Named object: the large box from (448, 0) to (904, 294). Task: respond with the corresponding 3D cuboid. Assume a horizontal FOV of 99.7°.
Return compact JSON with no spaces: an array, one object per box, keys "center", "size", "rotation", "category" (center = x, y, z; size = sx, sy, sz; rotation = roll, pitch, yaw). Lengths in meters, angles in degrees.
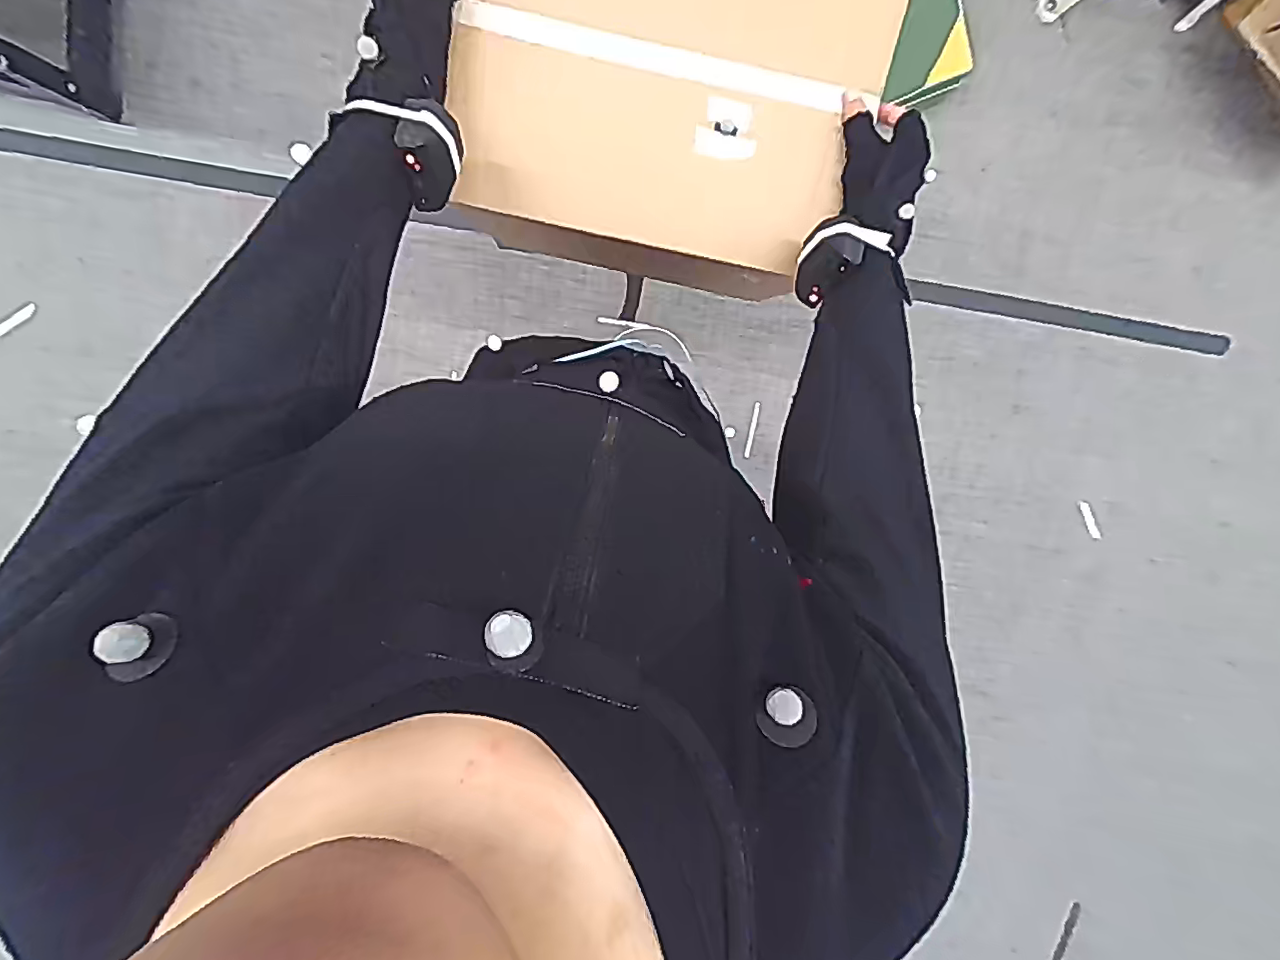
[{"center":[0.027,-0.430,0.652],"size":[0.408,0.320,0.320],"rotation":[11,106,-4],"category":"large box"}]
